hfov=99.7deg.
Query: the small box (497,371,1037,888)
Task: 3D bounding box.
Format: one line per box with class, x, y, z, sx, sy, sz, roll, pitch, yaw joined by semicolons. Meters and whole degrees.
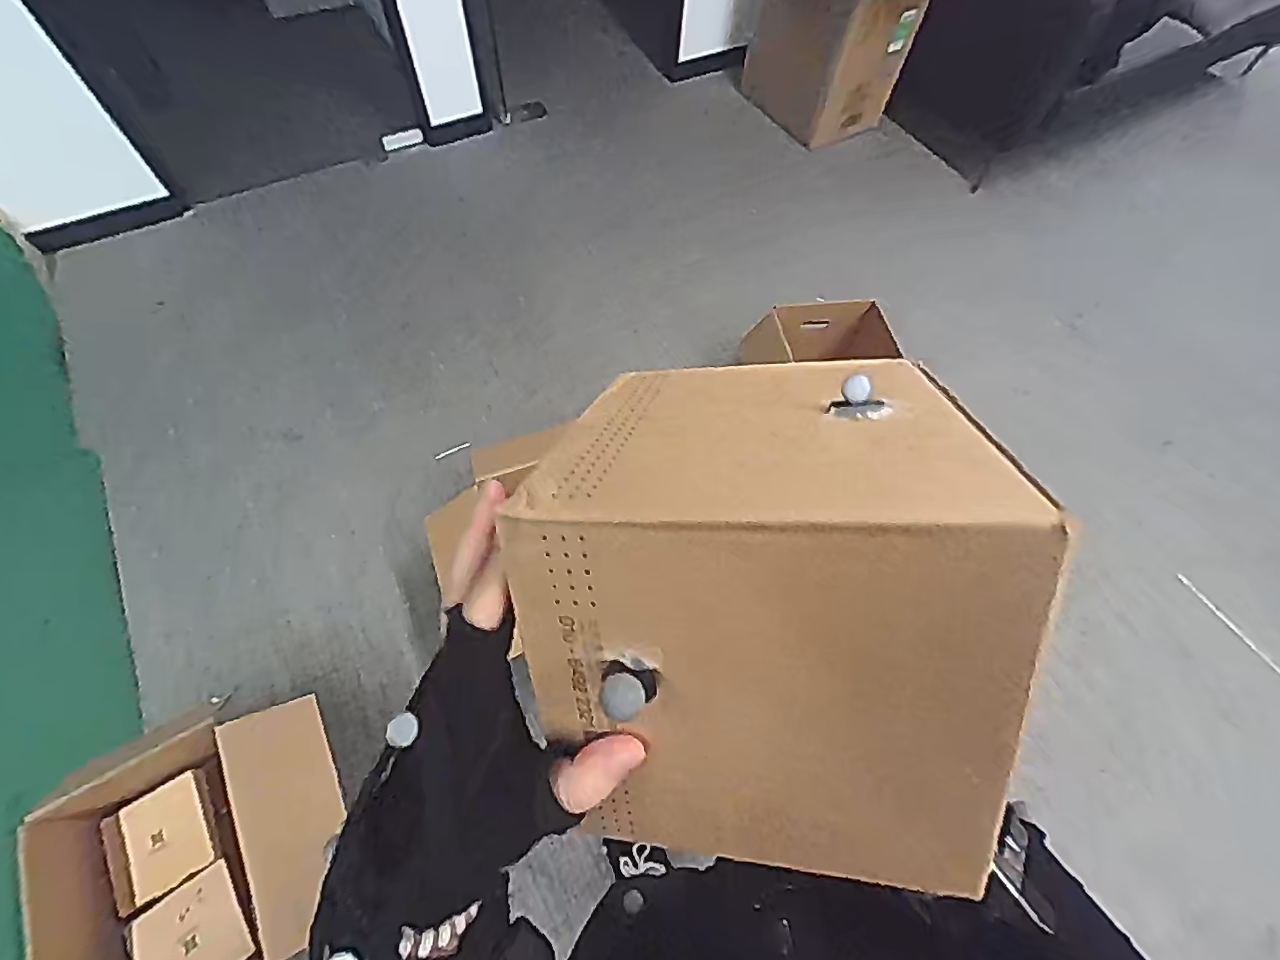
small box;0.053;0.049;0.268;0.176;0.168;0.179;-2;24;15
